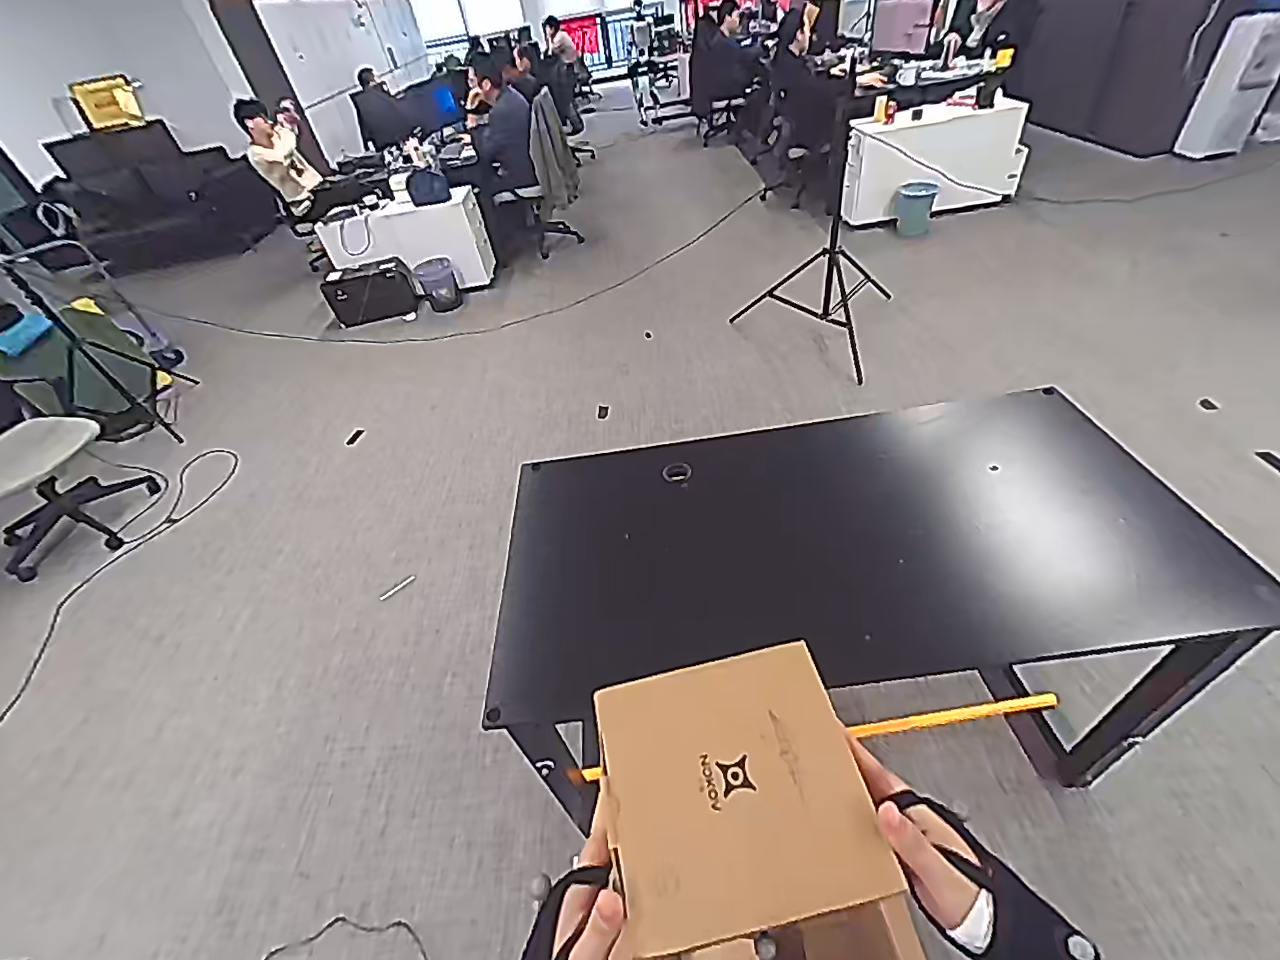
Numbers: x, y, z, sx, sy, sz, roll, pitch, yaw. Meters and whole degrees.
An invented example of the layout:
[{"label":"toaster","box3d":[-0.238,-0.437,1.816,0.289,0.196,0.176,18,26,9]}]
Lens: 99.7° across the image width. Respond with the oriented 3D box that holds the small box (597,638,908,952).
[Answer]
[{"label":"small box","box3d":[0.074,0.254,0.433,0.179,0.176,0.168,-12,50,-3]}]
